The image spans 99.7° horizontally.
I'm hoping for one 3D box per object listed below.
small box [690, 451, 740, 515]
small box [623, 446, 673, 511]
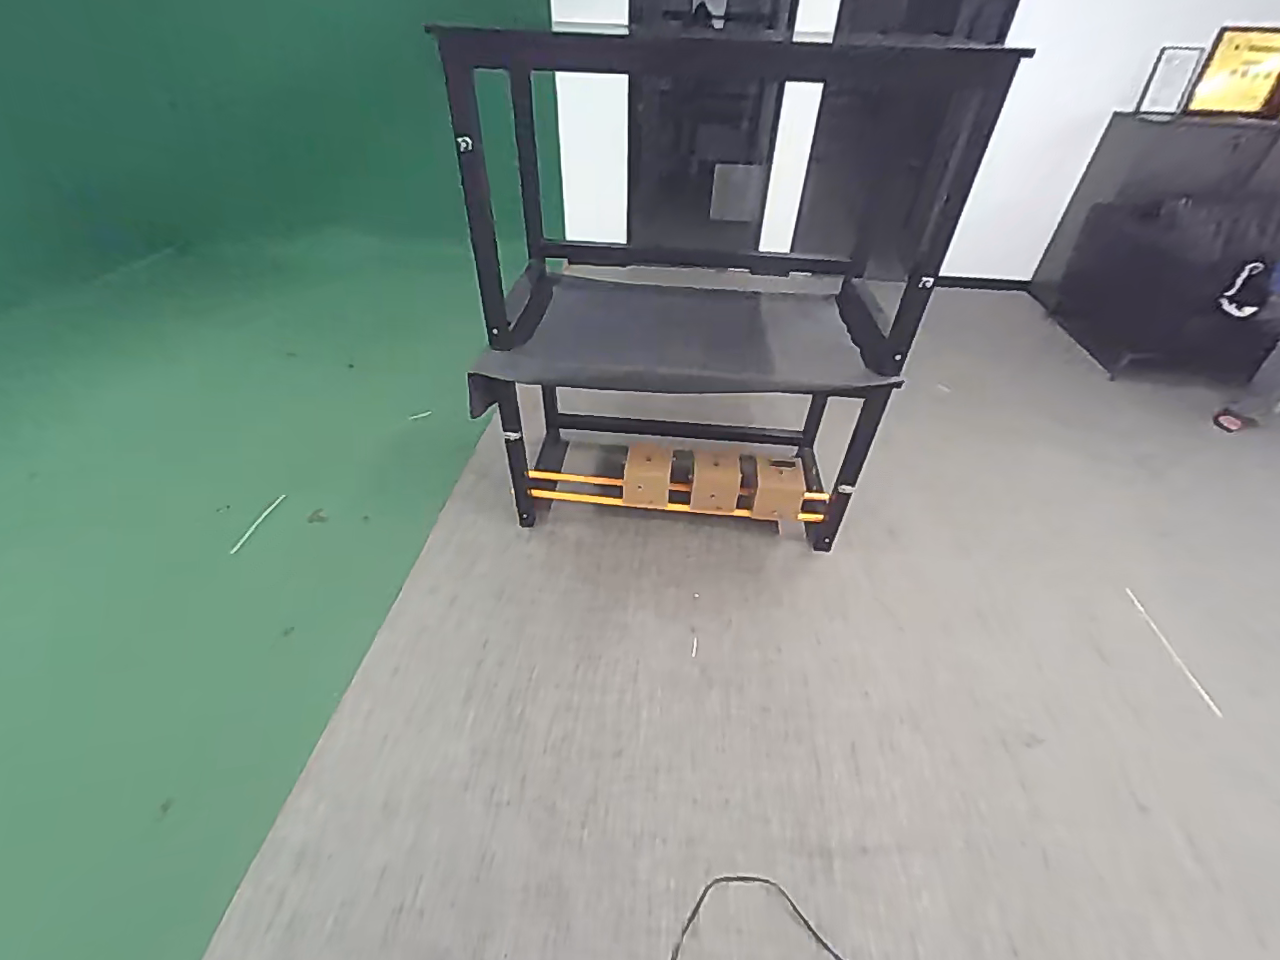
[{"bbox_3d":[0.276,0.013,2.009,0.168,0.176,0.179,4,42,3],"label":"small box"},{"bbox_3d":[0.030,-0.002,2.018,0.168,0.176,0.179,6,42,3],"label":"small box"}]
